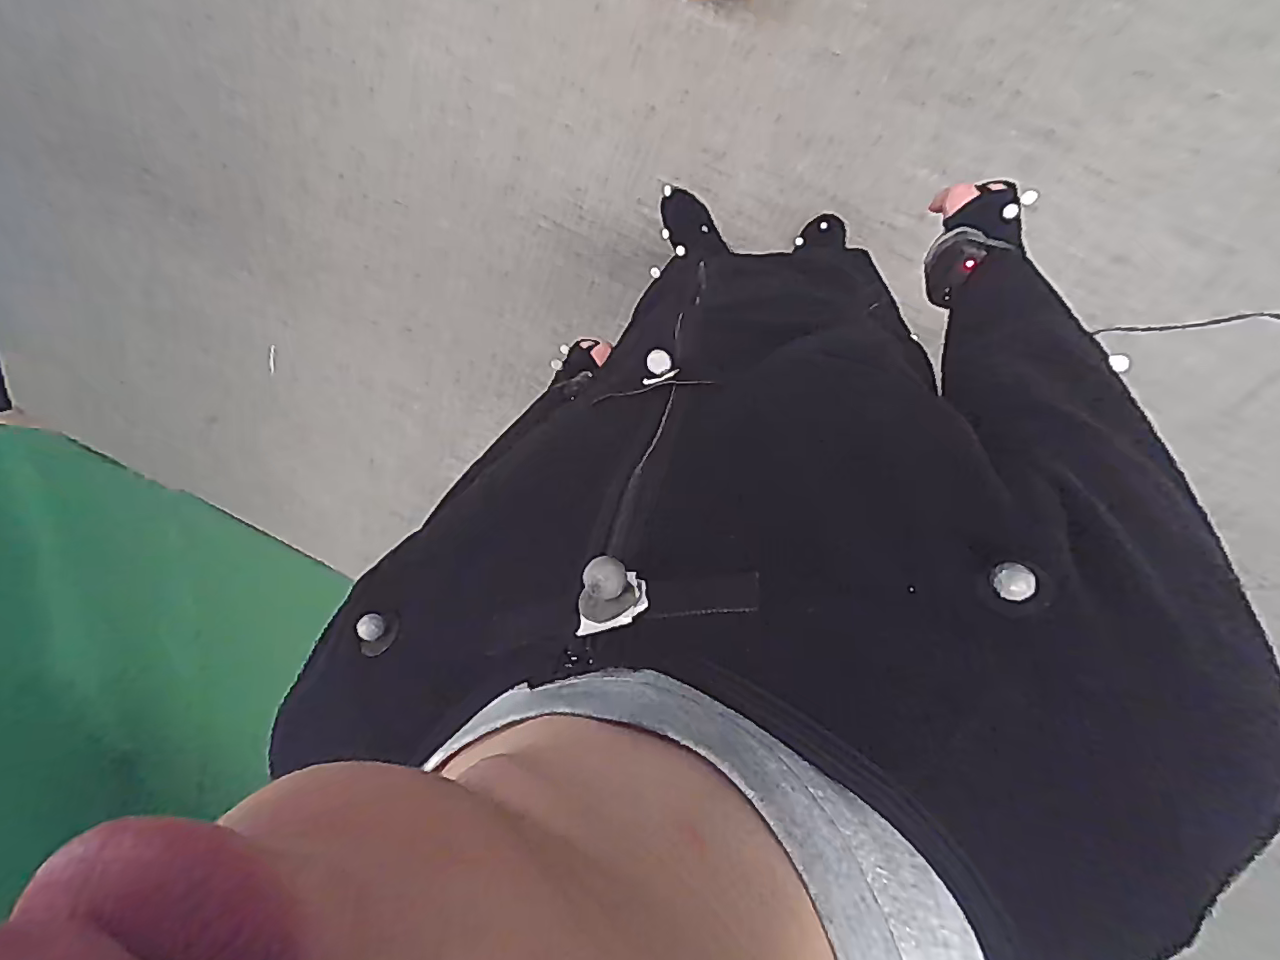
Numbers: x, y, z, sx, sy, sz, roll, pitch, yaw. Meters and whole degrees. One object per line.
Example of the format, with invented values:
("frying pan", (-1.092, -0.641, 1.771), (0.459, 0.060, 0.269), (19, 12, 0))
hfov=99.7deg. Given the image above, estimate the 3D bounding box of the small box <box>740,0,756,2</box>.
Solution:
("small box", (0.162, -1.051, 1.031), (0.168, 0.176, 0.179), (15, 119, 11))
